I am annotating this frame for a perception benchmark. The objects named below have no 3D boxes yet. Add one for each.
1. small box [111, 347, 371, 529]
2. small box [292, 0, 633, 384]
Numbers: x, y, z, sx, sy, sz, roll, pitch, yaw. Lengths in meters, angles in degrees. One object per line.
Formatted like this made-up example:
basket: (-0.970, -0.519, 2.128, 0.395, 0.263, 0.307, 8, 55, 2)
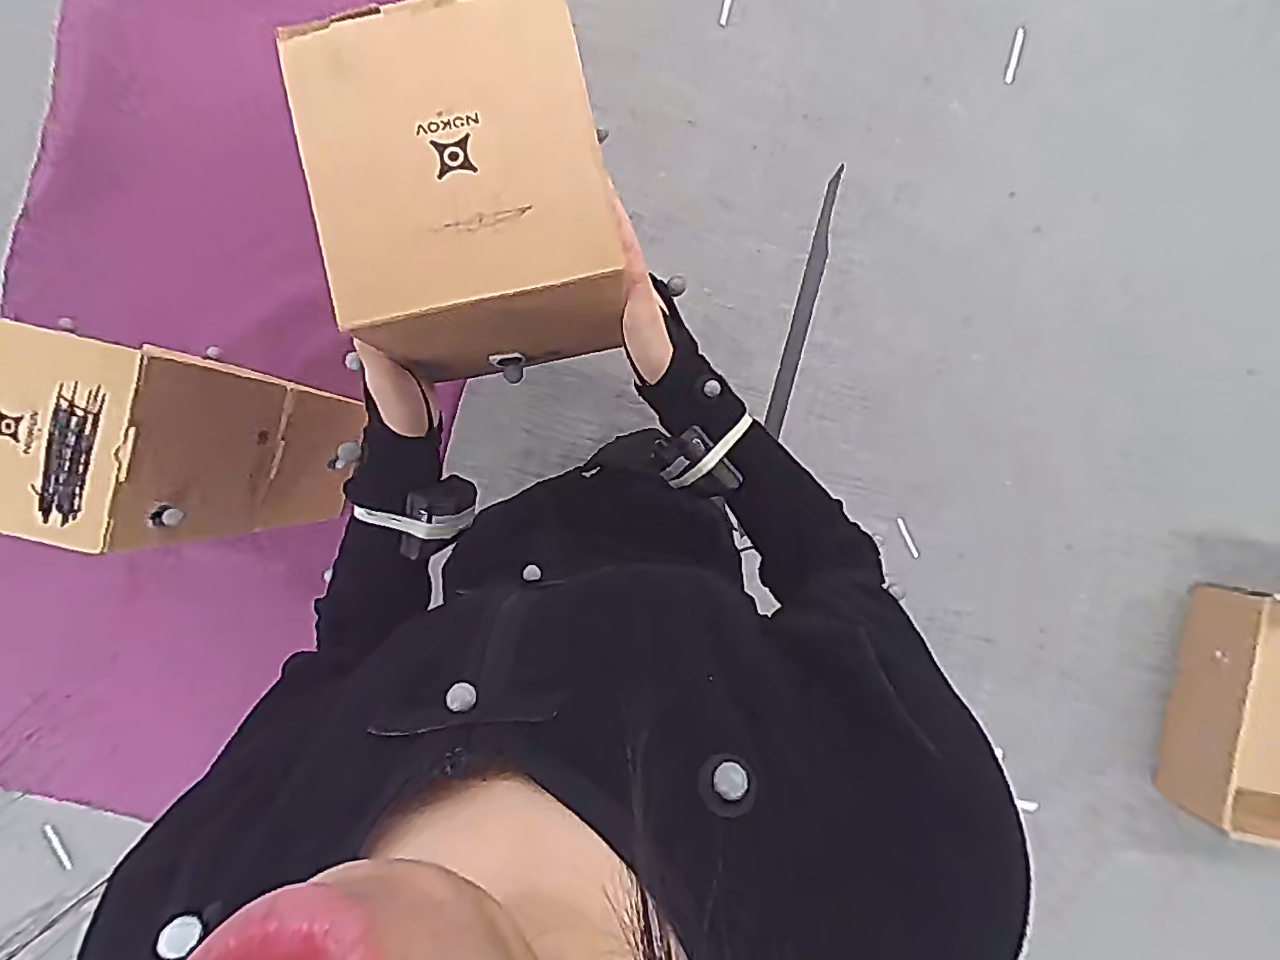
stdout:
small box: (-0.475, -0.046, 0.670, 0.179, 0.176, 0.168, 16, 91, 0)
small box: (-0.105, -0.182, 0.387, 0.168, 0.176, 0.179, -12, 90, -2)
